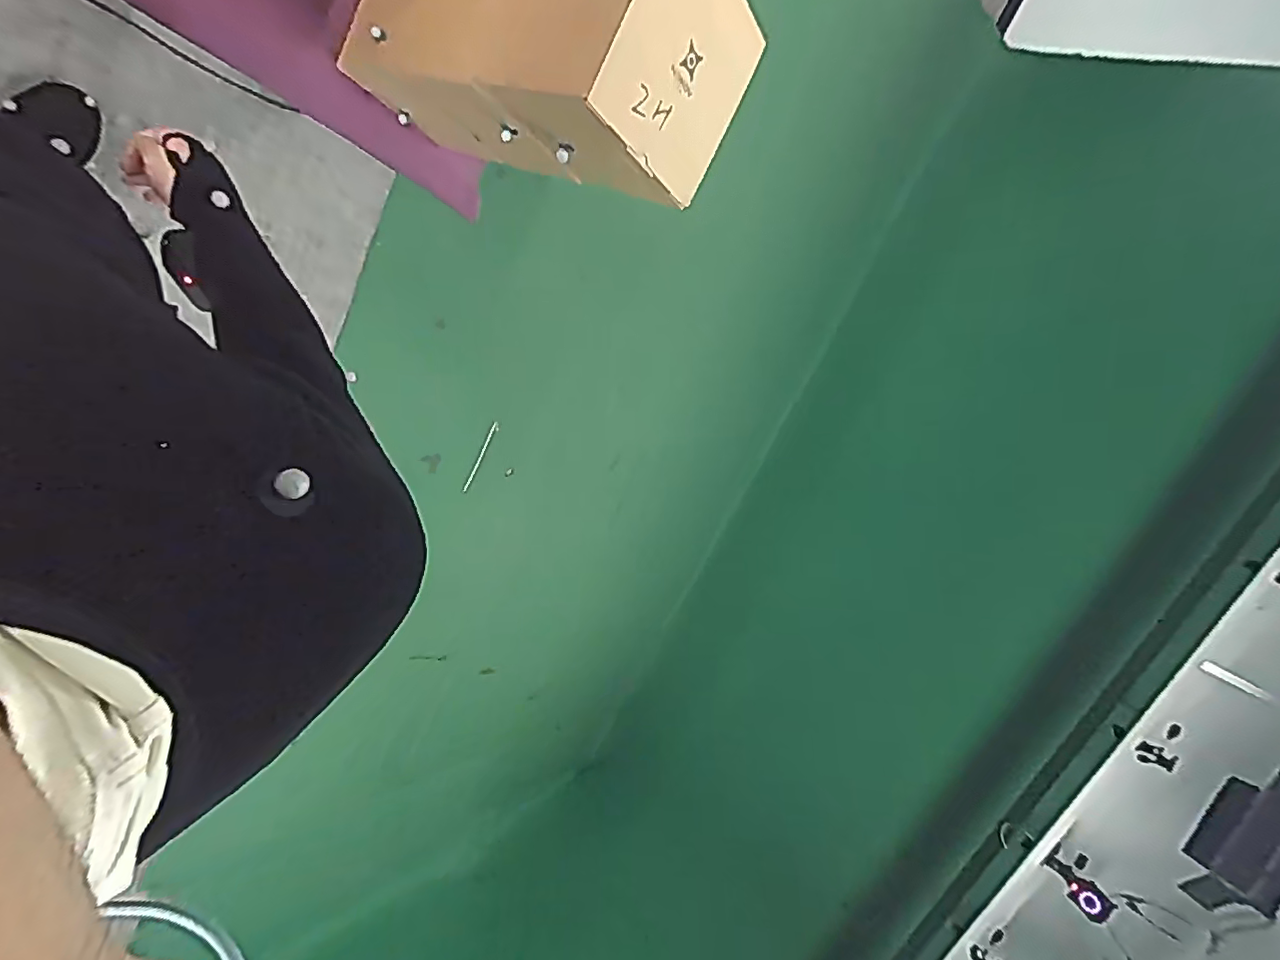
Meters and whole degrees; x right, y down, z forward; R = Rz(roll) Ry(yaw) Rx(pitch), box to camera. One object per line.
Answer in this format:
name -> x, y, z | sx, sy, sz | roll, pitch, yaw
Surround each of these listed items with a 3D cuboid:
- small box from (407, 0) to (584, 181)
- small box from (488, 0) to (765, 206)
small box -> -0.132, -0.482, 0.613 | 0.168, 0.176, 0.179 | 15, 106, -55
small box -> -0.016, -0.407, 0.523 | 0.168, 0.176, 0.179 | 14, 108, -55
